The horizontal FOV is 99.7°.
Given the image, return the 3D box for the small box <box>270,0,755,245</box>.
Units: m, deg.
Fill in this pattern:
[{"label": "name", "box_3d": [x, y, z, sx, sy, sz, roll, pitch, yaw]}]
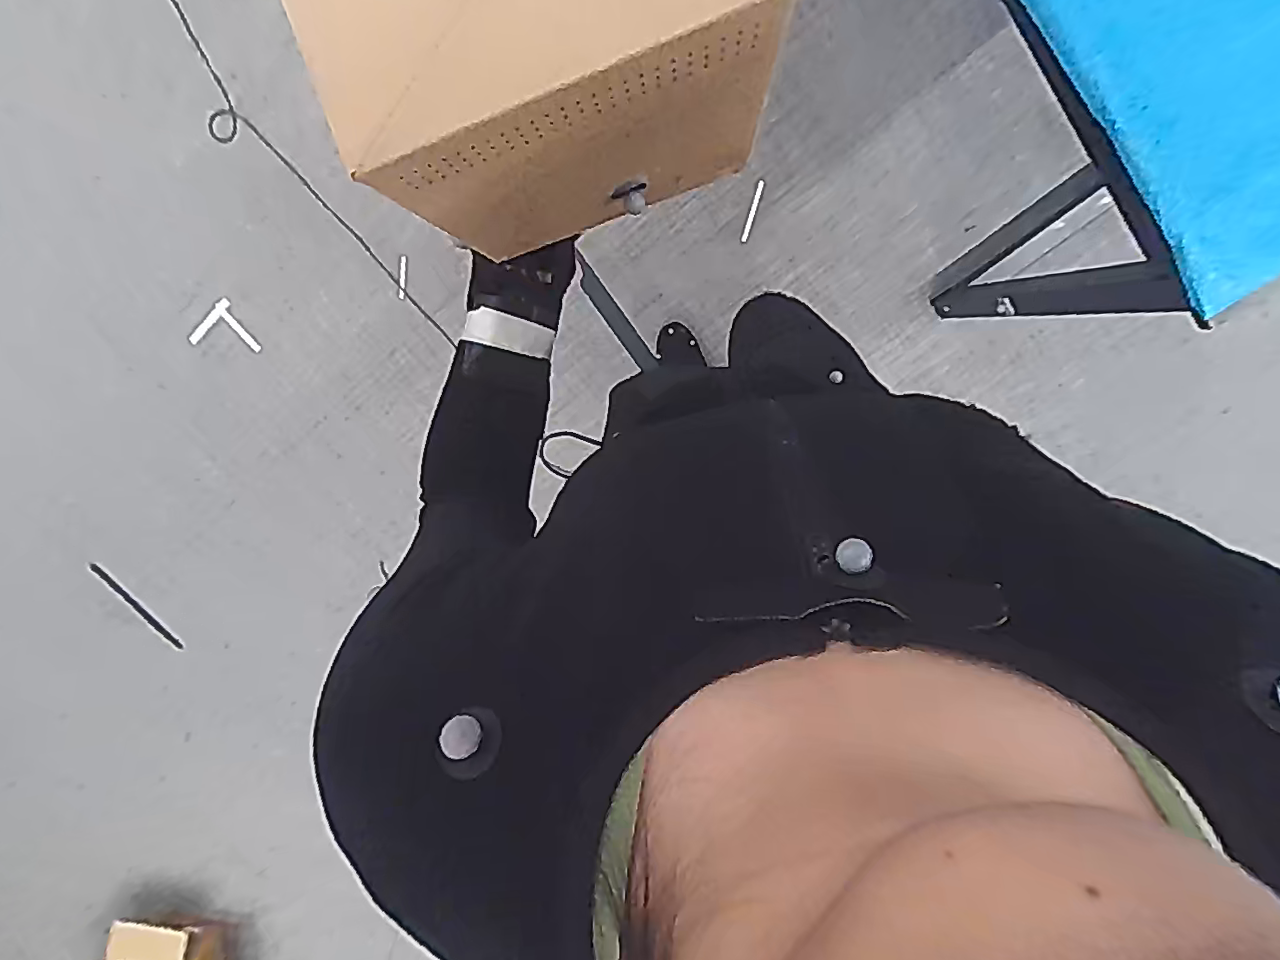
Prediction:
[{"label": "small box", "box_3d": [-0.053, -0.238, 0.256, 0.179, 0.176, 0.168, -17, 99, 8]}]
